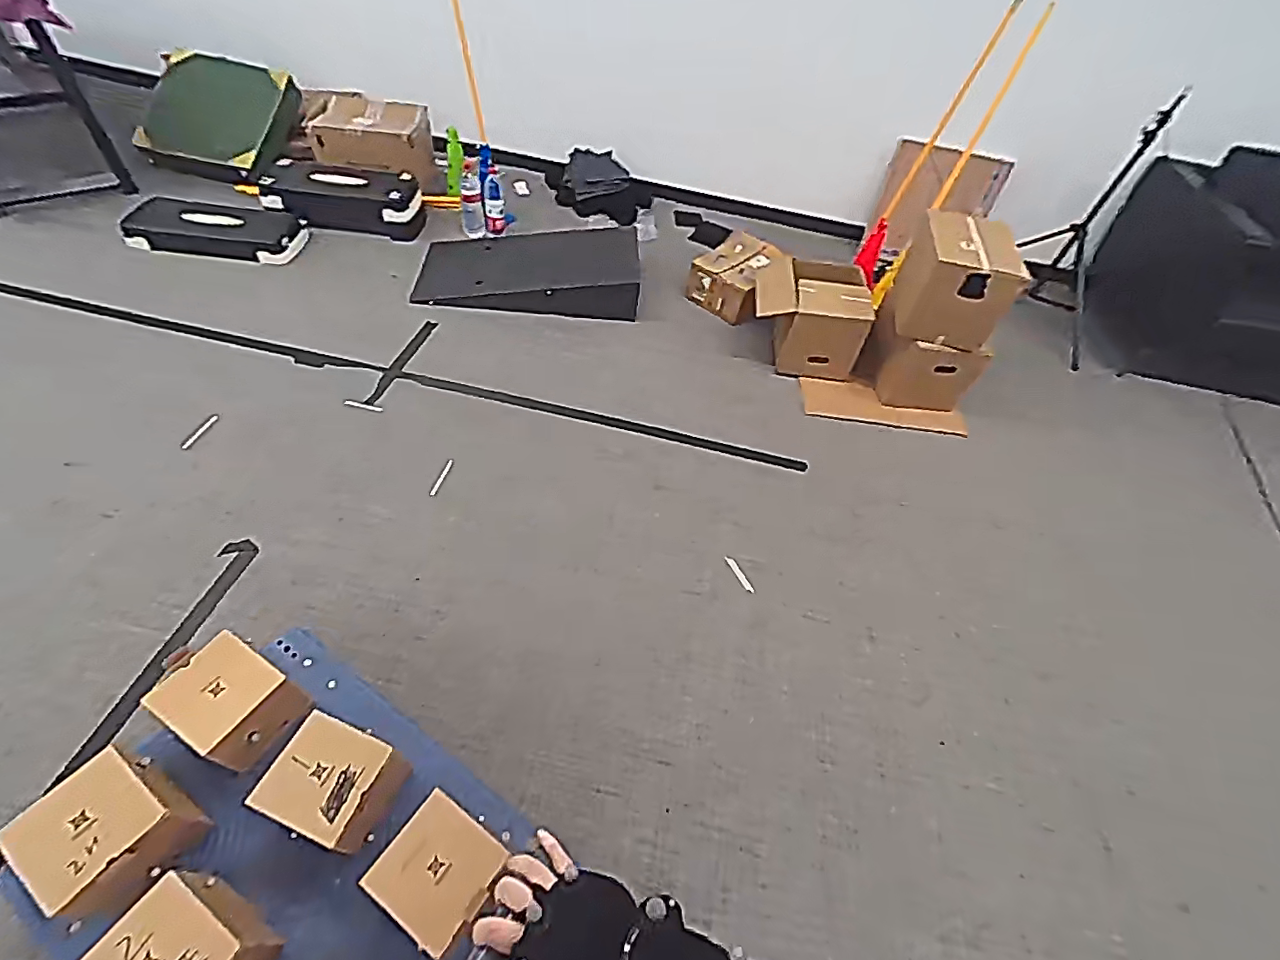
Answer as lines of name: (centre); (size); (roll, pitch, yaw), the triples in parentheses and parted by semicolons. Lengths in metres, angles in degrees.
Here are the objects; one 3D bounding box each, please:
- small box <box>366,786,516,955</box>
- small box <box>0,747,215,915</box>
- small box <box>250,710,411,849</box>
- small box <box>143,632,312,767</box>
small box: (-0.335, 0.679, 0.950); (0.179, 0.176, 0.168); (31, 53, 15)
small box: (-0.887, 0.597, 0.919); (0.179, 0.176, 0.168); (33, 54, 15)
small box: (-0.557, 0.560, 1.005); (0.179, 0.176, 0.168); (20, 51, 8)
small box: (-0.793, 0.436, 1.063); (0.179, 0.176, 0.168); (28, 53, 13)
